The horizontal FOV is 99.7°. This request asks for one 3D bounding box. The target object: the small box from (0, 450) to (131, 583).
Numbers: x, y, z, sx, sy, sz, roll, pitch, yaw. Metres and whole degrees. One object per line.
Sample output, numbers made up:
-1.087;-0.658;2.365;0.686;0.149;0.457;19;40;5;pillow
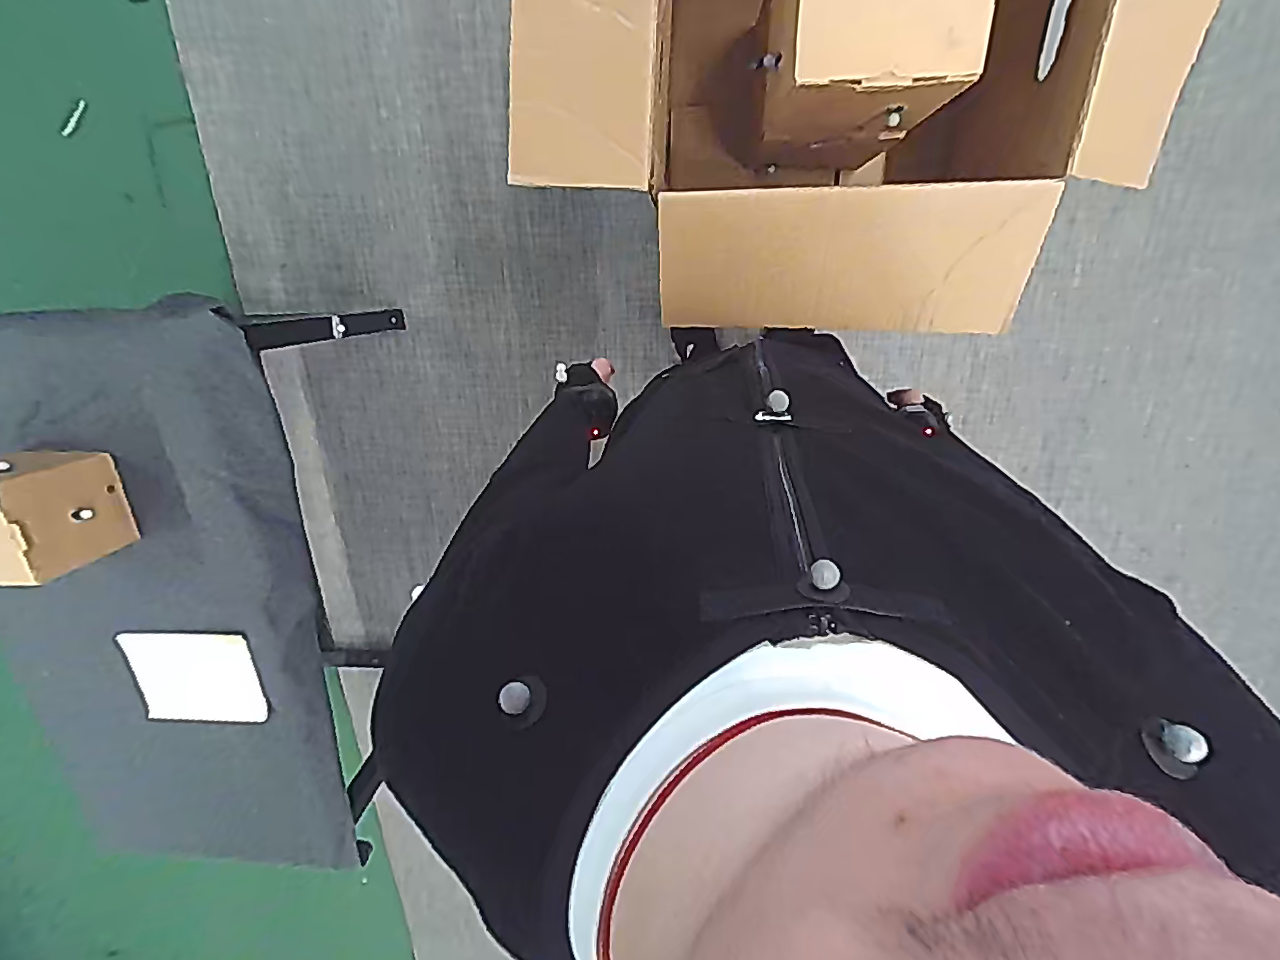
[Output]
-0.988;0.051;0.875;0.179;0.176;0.168;0;110;4;small box
